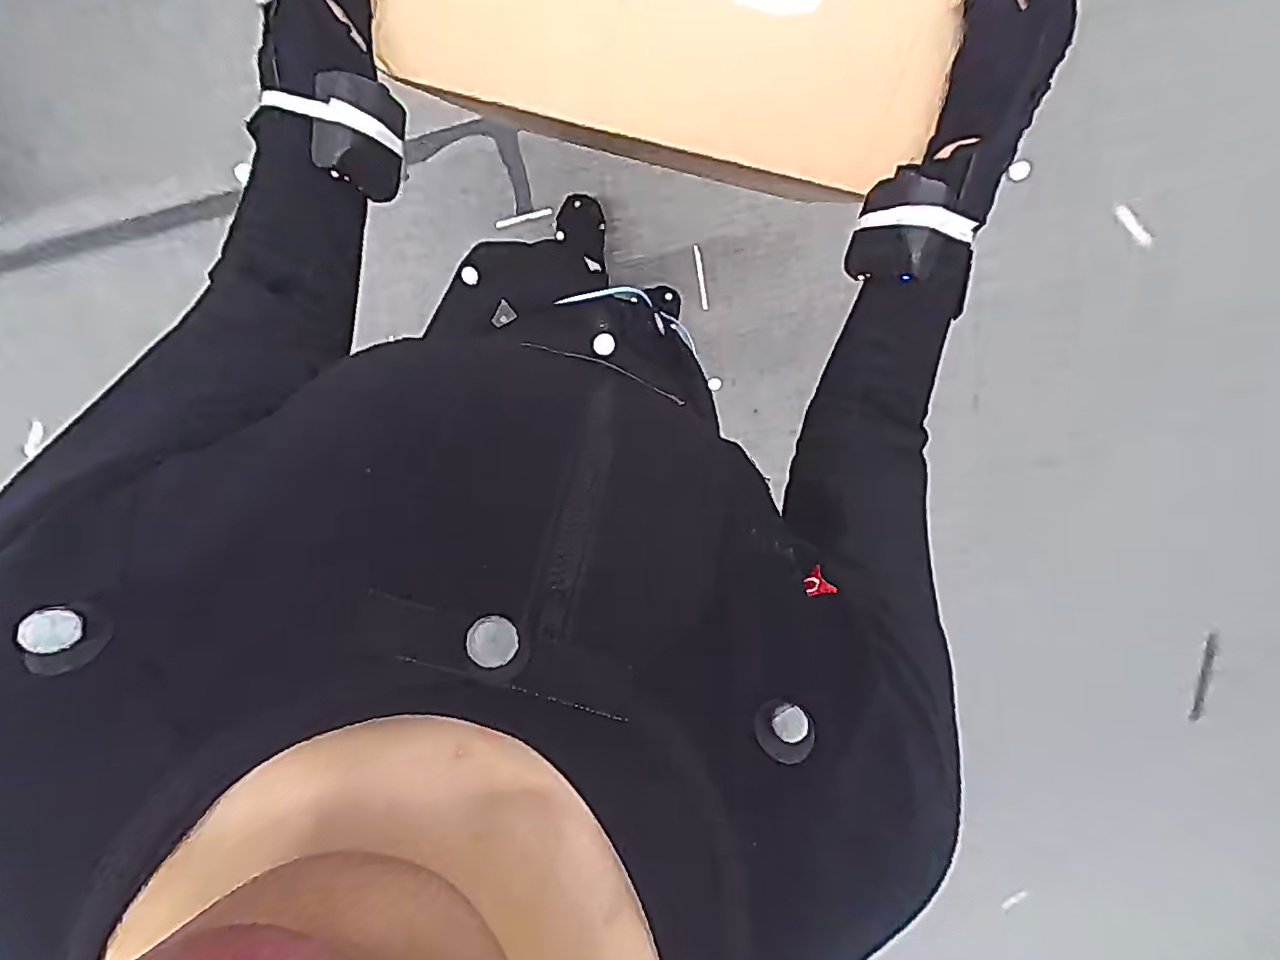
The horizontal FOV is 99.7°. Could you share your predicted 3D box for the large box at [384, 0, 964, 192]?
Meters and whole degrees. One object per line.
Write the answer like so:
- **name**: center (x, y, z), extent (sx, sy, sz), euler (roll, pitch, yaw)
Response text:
- **large box**: center (0.036, -0.462, 0.473), extent (0.408, 0.320, 0.320), euler (10, 118, -4)
